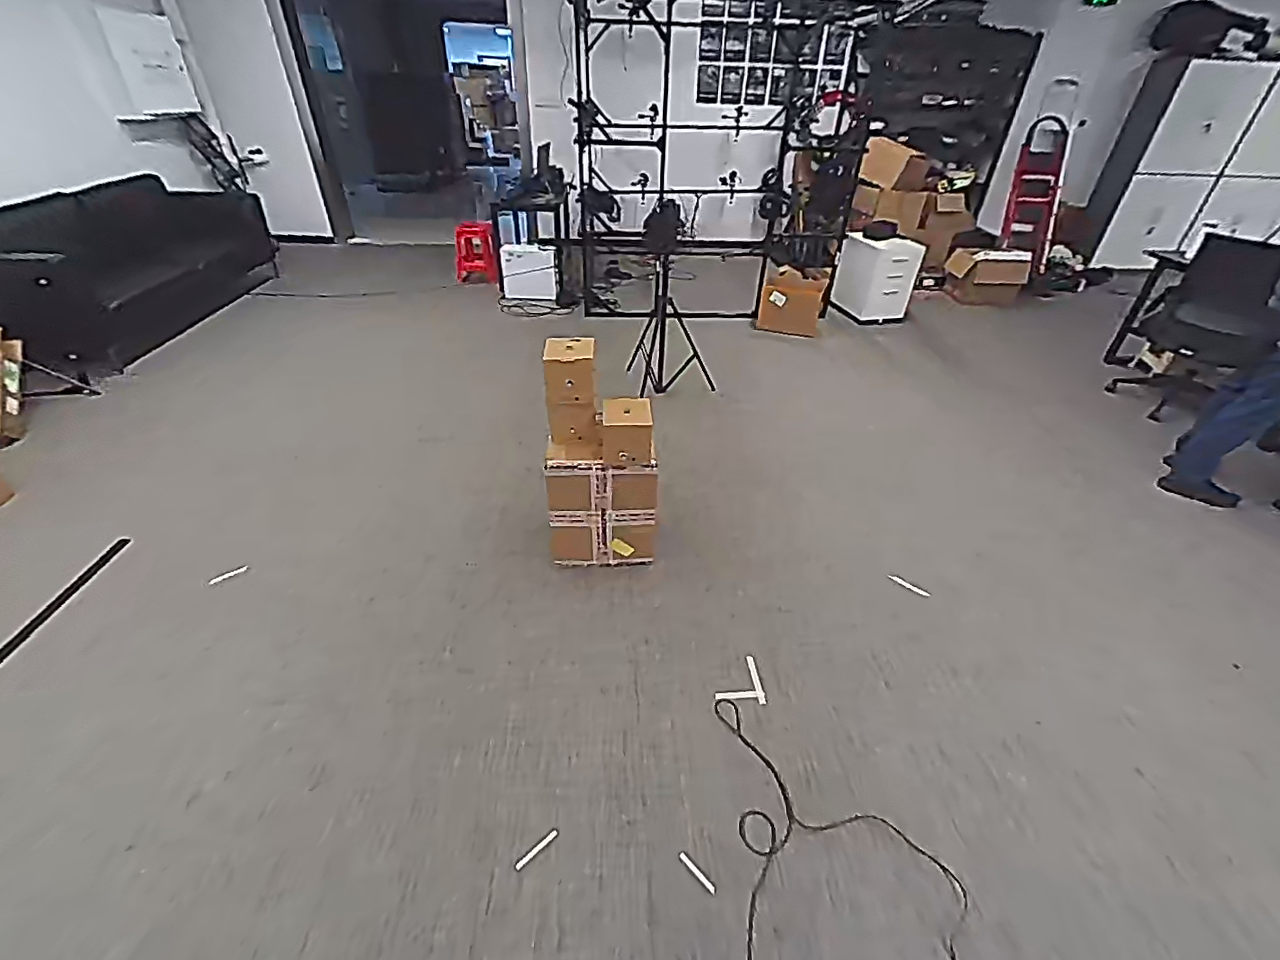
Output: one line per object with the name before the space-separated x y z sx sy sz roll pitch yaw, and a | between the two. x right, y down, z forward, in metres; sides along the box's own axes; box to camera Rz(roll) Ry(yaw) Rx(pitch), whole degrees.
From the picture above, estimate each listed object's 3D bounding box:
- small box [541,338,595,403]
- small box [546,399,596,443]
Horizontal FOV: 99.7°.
small box | -0.245 -0.377 1.878 0.168 0.176 0.179 -2 39 -2
small box | -0.250 -0.253 1.986 0.168 0.176 0.179 -3 38 -3
